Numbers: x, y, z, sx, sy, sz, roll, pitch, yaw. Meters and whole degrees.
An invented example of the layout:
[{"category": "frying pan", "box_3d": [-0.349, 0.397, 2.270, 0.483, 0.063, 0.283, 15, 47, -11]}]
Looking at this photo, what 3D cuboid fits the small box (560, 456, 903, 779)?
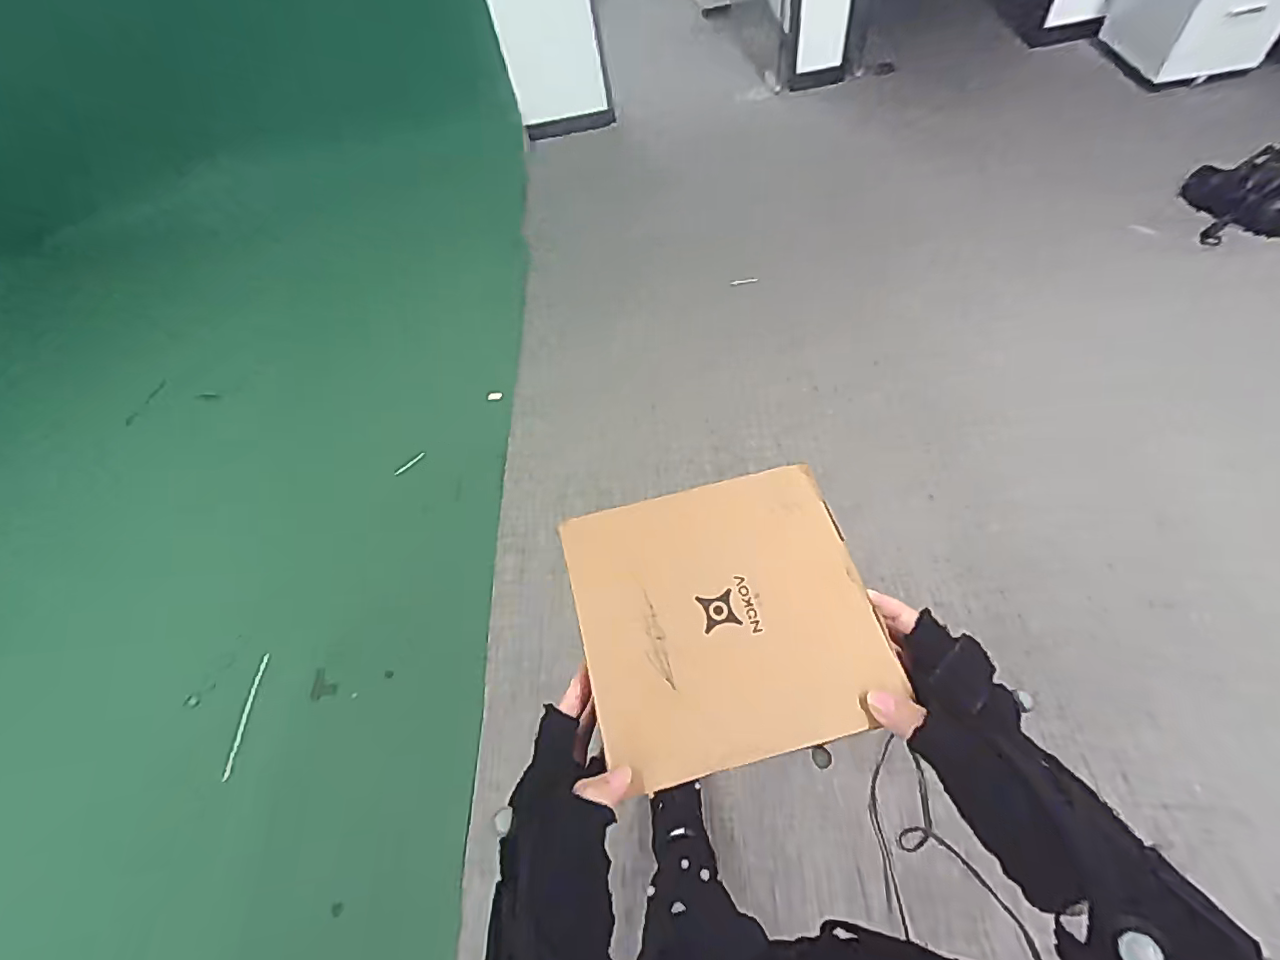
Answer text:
[{"category": "small box", "box_3d": [0.052, 0.109, 0.405, 0.179, 0.176, 0.168, -15, 62, -3]}]
